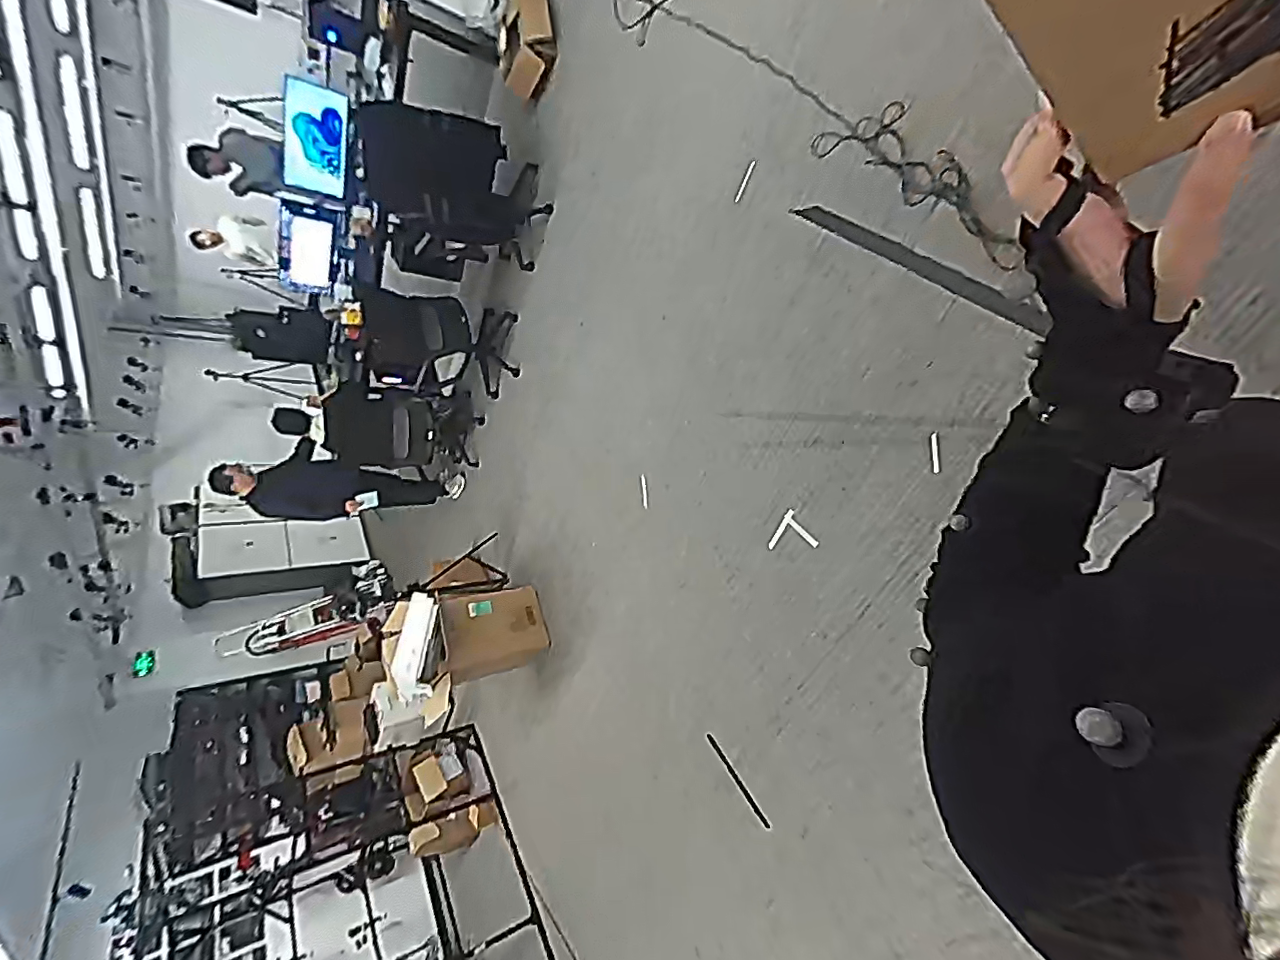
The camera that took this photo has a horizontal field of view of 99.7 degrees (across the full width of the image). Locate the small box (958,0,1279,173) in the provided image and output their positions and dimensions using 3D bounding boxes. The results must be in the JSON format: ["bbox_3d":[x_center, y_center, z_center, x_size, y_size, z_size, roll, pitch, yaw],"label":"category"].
[{"bbox_3d":[0.206,-0.260,0.174,0.168,0.179,0.176,-14,52,57],"label":"small box"}]
